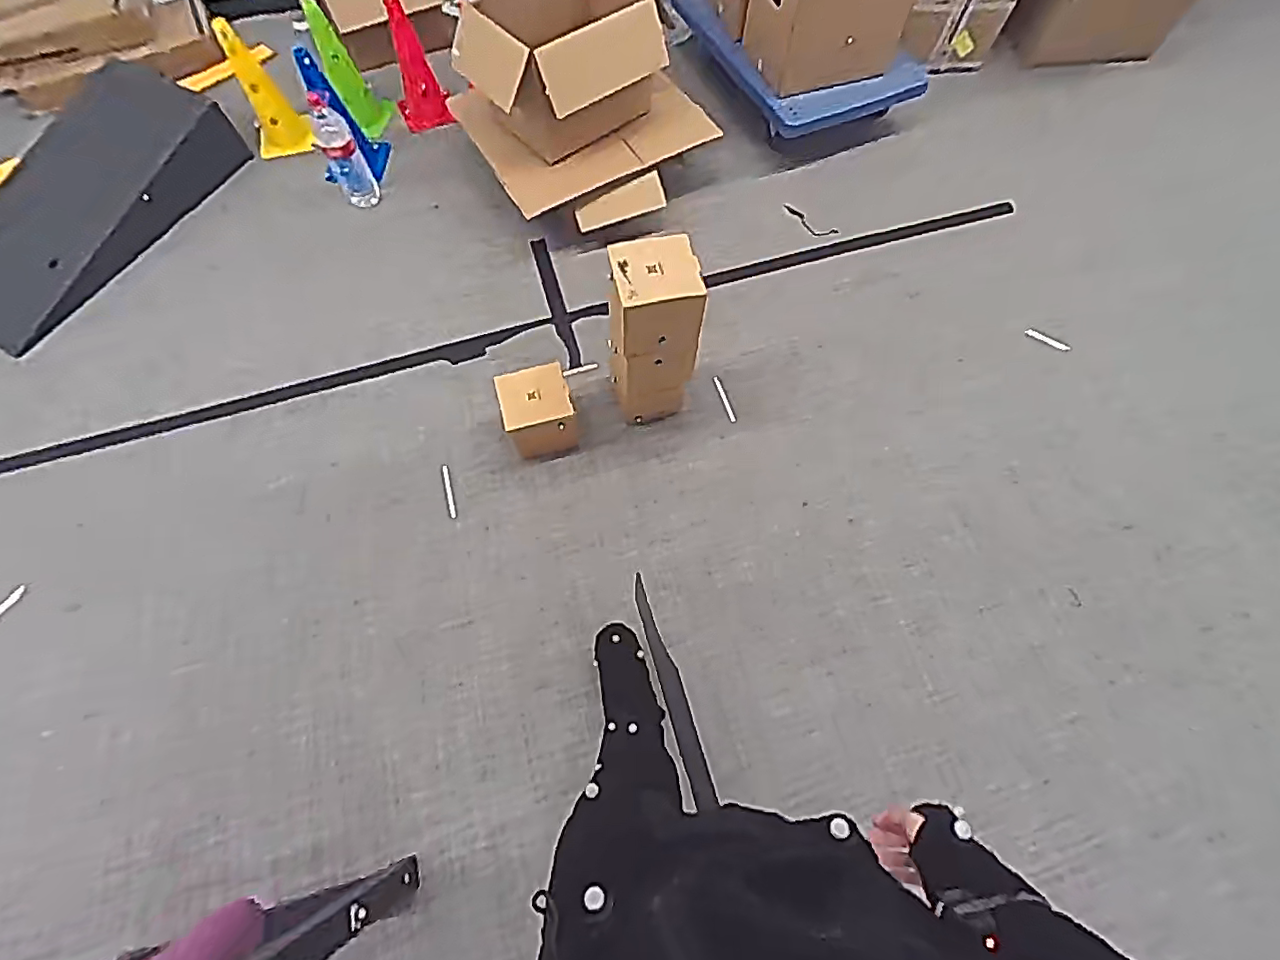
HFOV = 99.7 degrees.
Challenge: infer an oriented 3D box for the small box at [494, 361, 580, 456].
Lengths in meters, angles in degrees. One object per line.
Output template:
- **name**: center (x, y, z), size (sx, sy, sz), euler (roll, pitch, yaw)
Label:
- **small box**: center (-0.267, -0.183, 1.427), size (0.179, 0.176, 0.168), euler (-15, 68, -8)

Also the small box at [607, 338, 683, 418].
- **small box**: center (0.015, -0.285, 1.473), size (0.168, 0.176, 0.179), euler (-16, 68, -8)

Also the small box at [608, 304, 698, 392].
- **small box**: center (0.028, -0.334, 1.315), size (0.179, 0.176, 0.168), euler (-14, 69, -7)

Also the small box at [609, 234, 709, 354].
- **small box**: center (0.032, -0.394, 1.162), size (0.179, 0.176, 0.168), euler (-11, 68, -7)
